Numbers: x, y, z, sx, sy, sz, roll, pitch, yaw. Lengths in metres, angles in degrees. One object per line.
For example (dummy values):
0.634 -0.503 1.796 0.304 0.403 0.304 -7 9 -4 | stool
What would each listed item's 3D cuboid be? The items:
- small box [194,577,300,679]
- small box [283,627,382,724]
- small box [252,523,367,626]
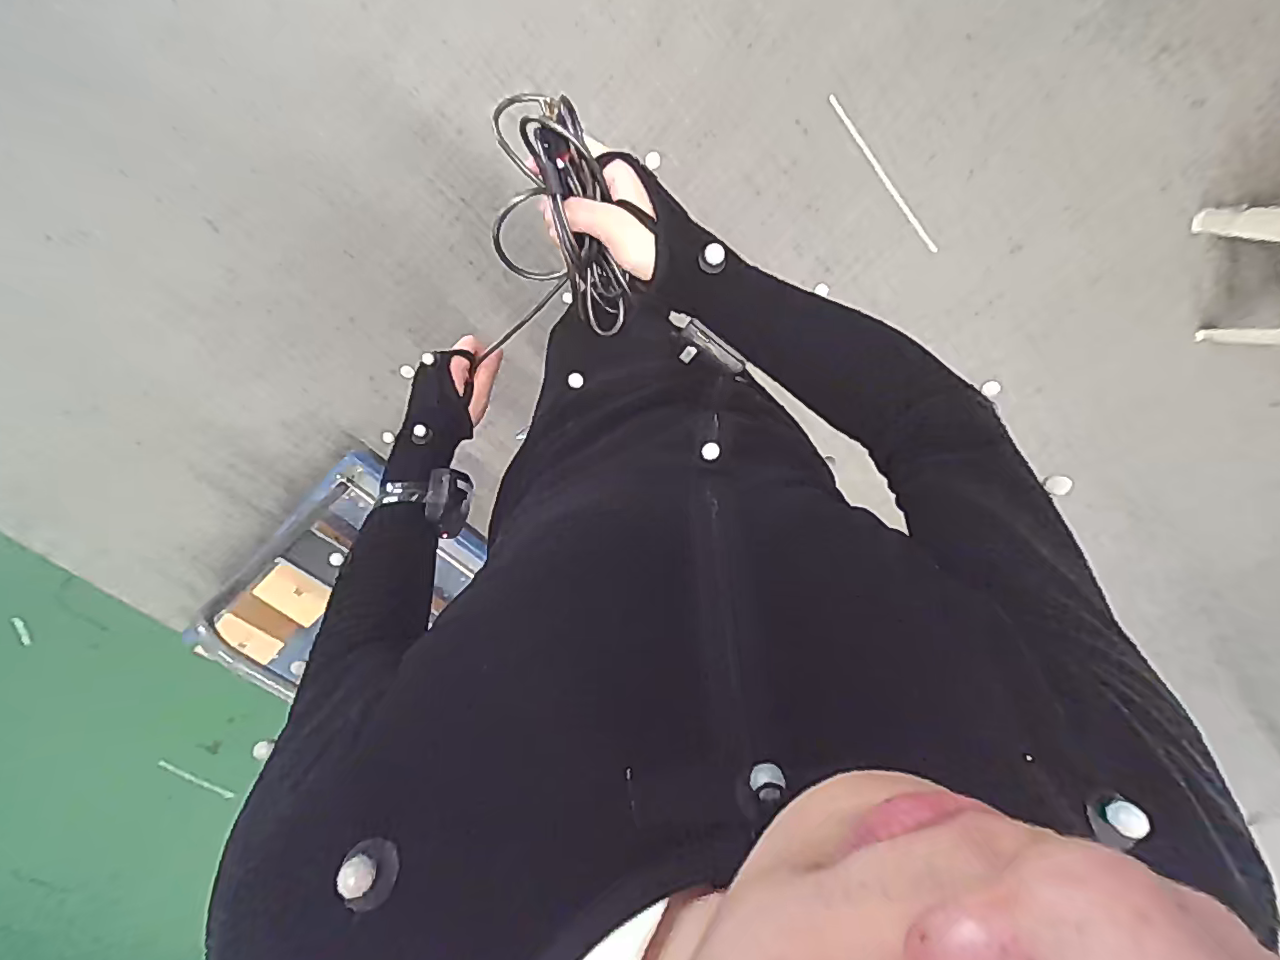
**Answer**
-1.077 0.411 1.514 0.179 0.176 0.168 -43 111 14 | small box
-0.897 0.573 1.599 0.168 0.176 0.179 40 106 -18 | small box
-0.878 0.250 1.456 0.179 0.176 0.168 -40 111 13 | small box
